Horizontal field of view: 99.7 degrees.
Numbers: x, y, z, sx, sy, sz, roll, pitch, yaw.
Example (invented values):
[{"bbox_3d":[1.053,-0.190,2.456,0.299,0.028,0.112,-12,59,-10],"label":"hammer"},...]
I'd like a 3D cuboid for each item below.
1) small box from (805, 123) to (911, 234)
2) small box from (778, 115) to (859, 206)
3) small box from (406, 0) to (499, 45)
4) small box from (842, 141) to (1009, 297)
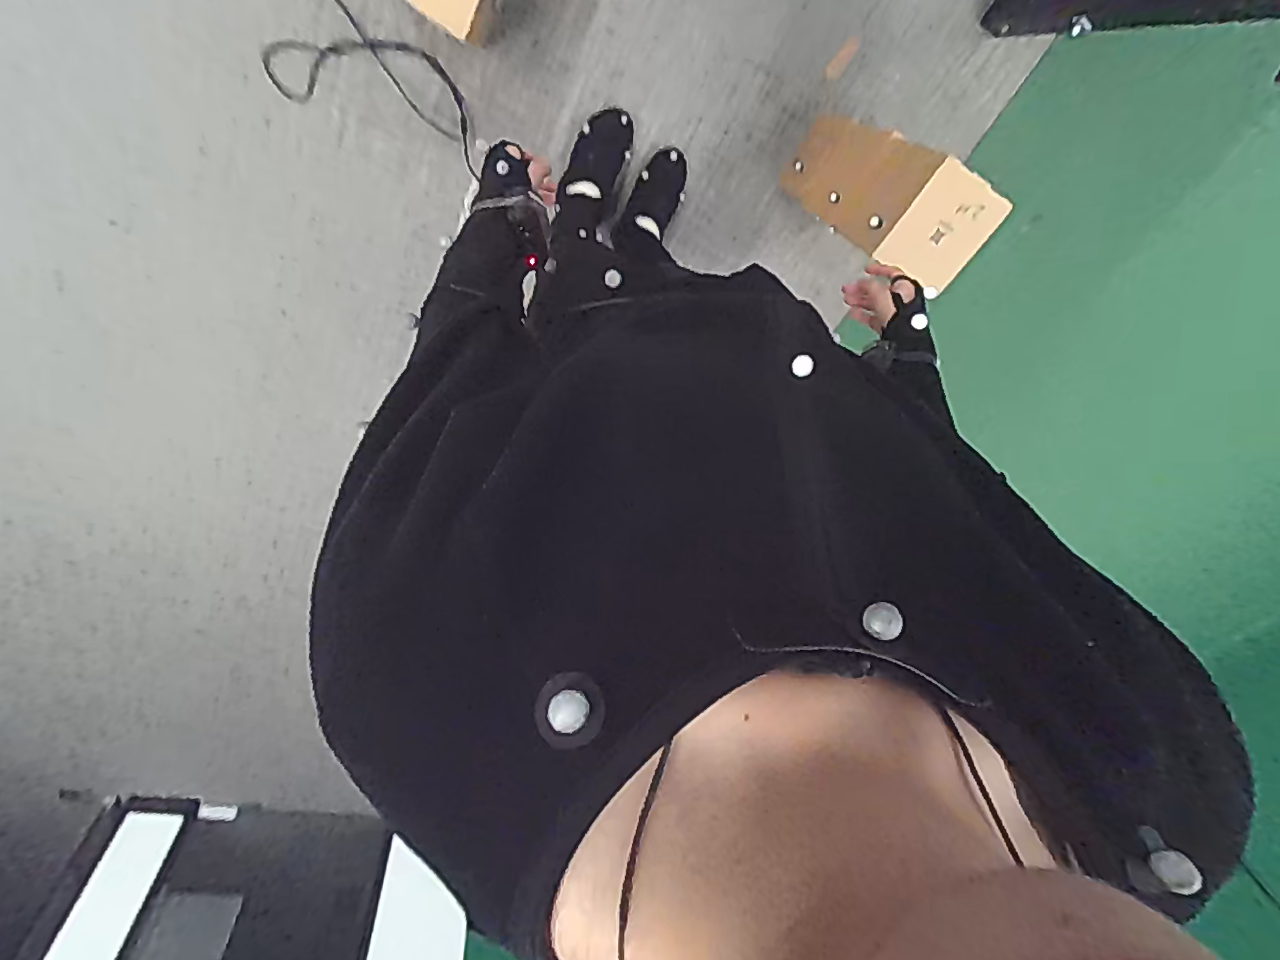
[{"bbox_3d":[0.461,-0.578,1.078,0.168,0.176,0.179,19,124,-22],"label":"small box"},{"bbox_3d":[0.438,-0.680,1.202,0.179,0.176,0.168,22,122,-24],"label":"small box"},{"bbox_3d":[-0.322,-0.889,0.923,0.168,0.176,0.179,24,121,-25],"label":"small box"},{"bbox_3d":[0.488,-0.465,0.961,0.168,0.176,0.179,20,123,-23],"label":"small box"}]
